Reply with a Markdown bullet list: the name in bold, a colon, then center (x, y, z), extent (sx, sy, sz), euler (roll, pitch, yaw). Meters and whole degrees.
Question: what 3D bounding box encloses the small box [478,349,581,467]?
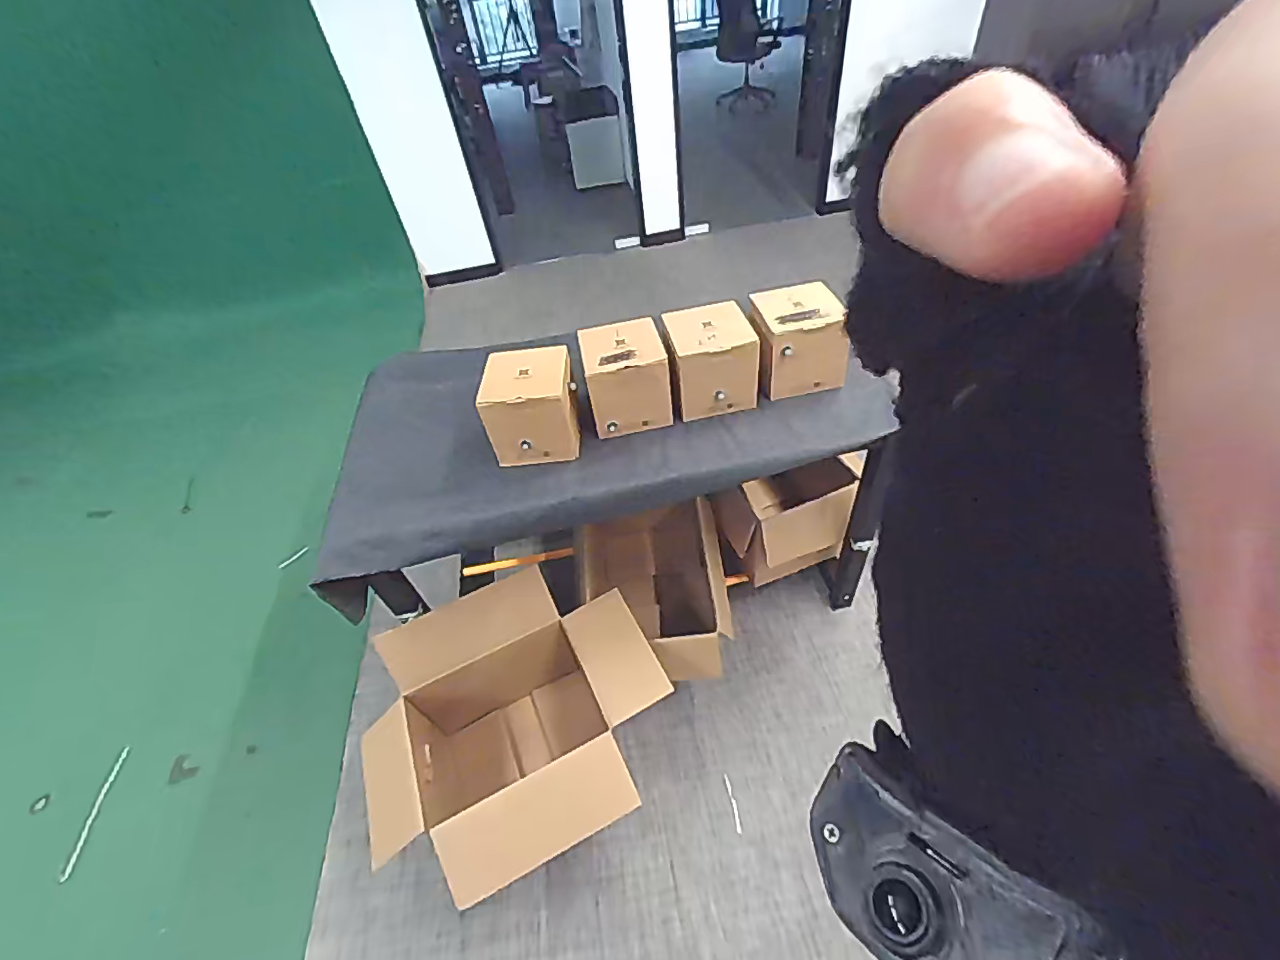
- **small box**: center (-0.219, -0.149, 1.126), extent (0.168, 0.176, 0.179), euler (-6, 46, 3)
